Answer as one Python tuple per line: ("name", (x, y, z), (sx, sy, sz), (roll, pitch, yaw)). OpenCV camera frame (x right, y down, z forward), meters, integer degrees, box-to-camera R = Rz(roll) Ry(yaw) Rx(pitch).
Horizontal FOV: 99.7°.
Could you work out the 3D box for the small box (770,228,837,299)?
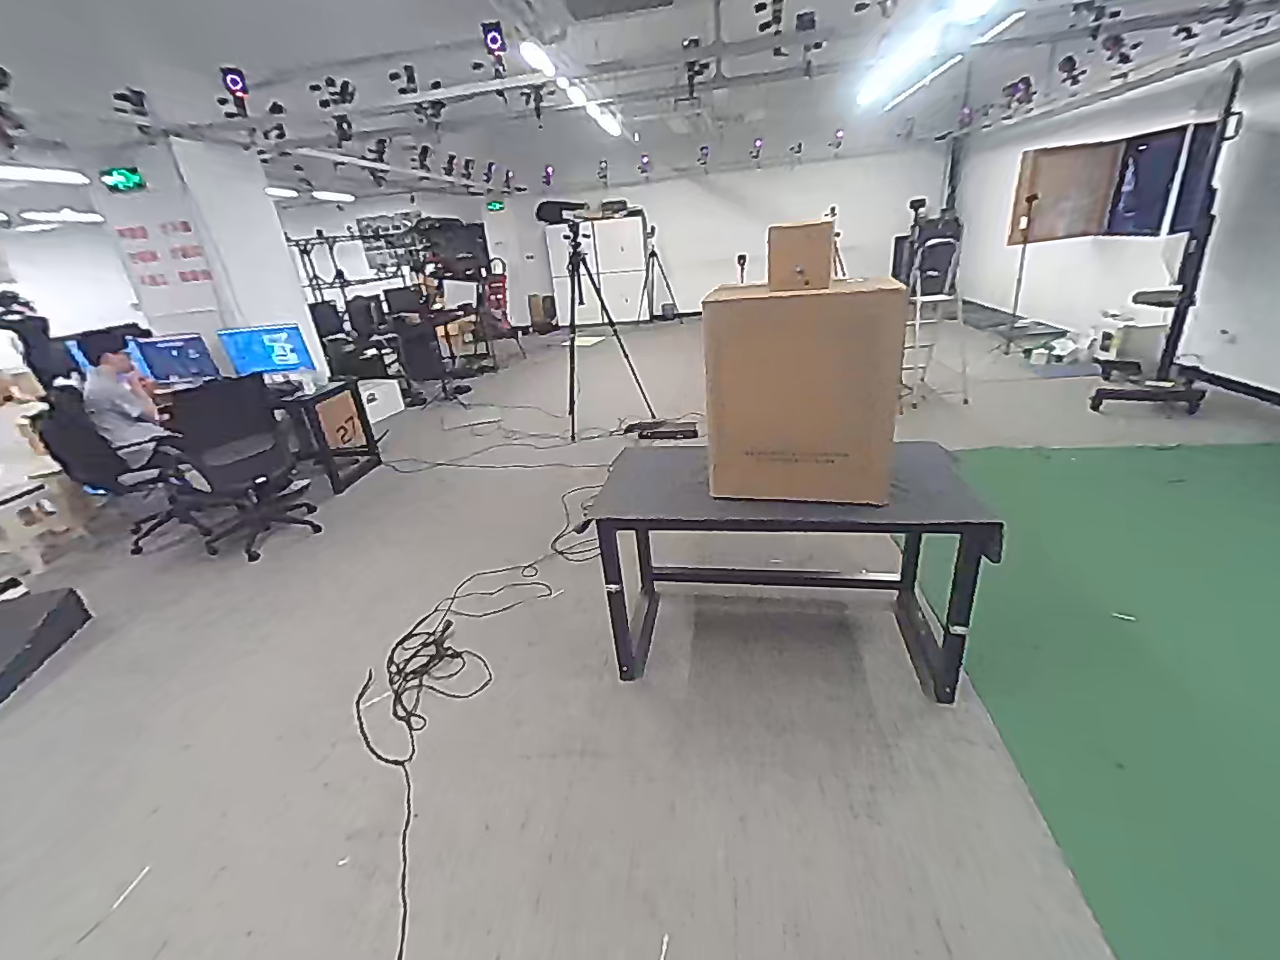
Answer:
("small box", (0.462, -0.612, 1.531), (0.168, 0.176, 0.179), (4, 28, 20))
